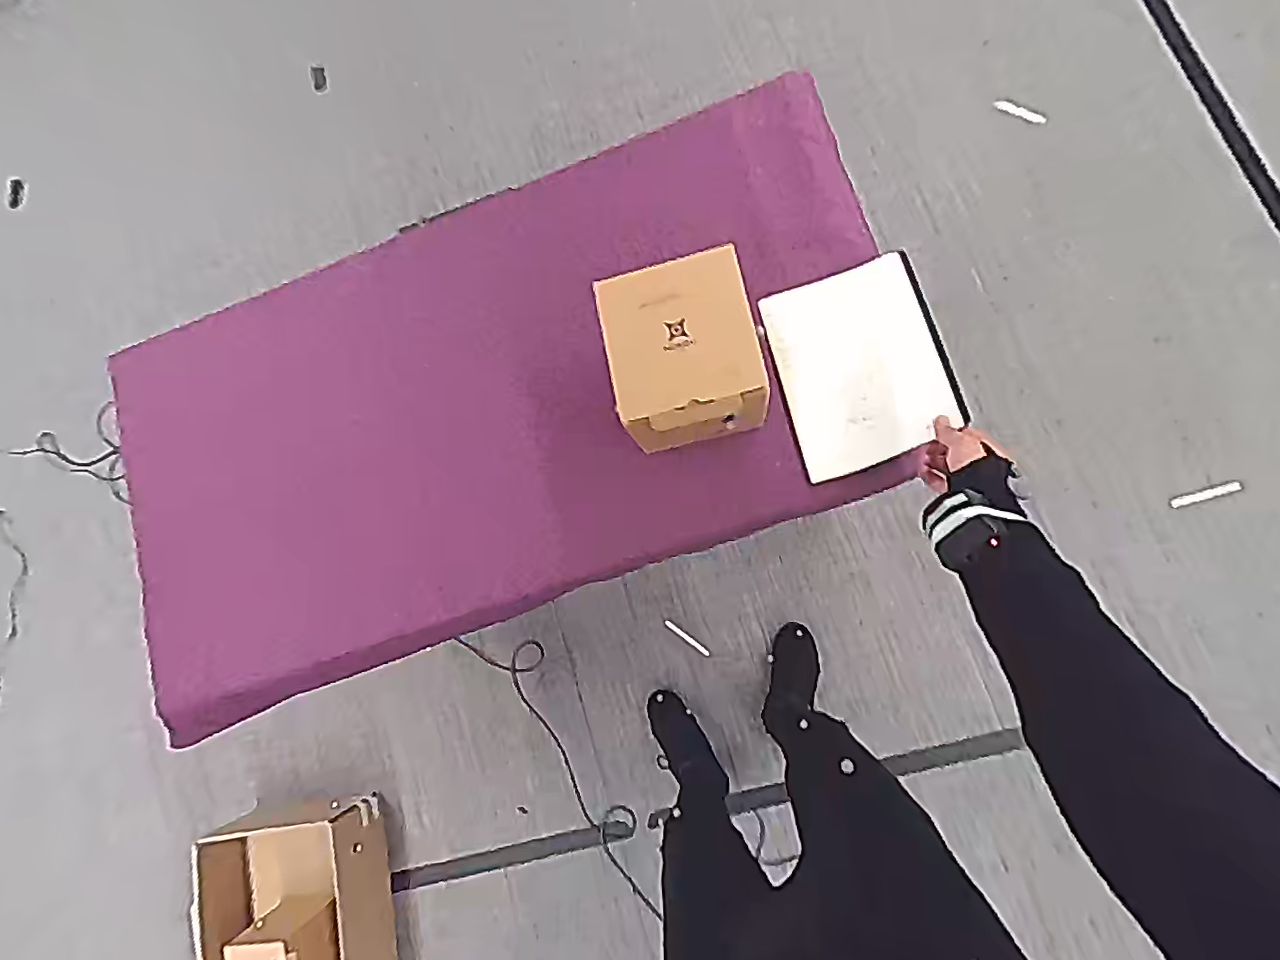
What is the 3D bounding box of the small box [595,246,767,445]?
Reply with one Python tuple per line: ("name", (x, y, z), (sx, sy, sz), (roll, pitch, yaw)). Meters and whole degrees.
("small box", (0.056, -0.149, 0.673), (0.168, 0.176, 0.179), (-13, 79, 7))
